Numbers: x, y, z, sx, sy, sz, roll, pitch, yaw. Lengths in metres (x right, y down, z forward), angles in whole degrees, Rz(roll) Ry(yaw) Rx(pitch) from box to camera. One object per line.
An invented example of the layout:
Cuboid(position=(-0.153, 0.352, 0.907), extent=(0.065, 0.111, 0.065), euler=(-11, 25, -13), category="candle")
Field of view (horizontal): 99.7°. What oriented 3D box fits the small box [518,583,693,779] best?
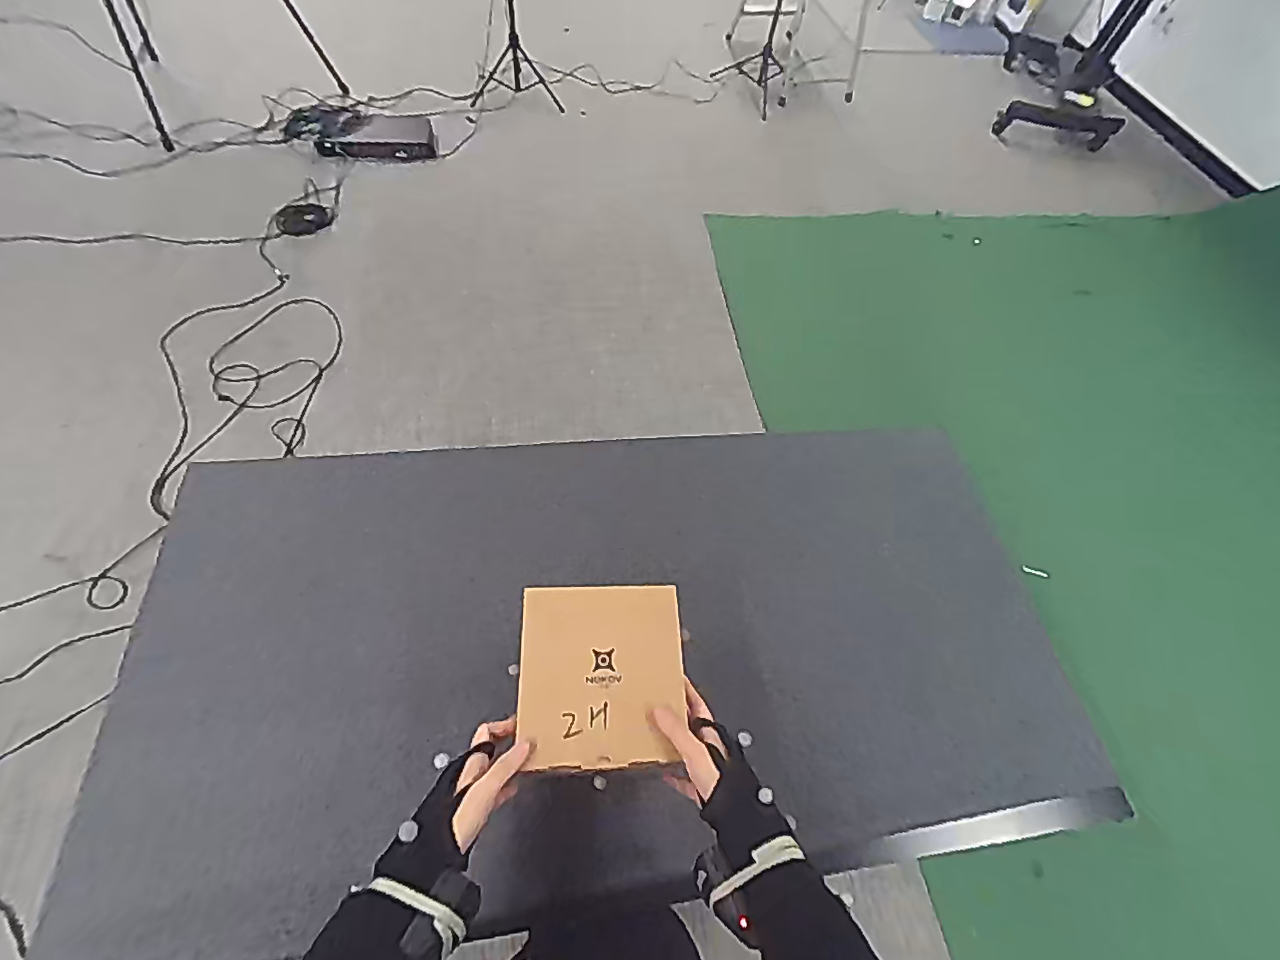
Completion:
Cuboid(position=(-0.042, 0.229, 0.608), extent=(0.168, 0.176, 0.179), euler=(0, 58, -6), category="small box")
